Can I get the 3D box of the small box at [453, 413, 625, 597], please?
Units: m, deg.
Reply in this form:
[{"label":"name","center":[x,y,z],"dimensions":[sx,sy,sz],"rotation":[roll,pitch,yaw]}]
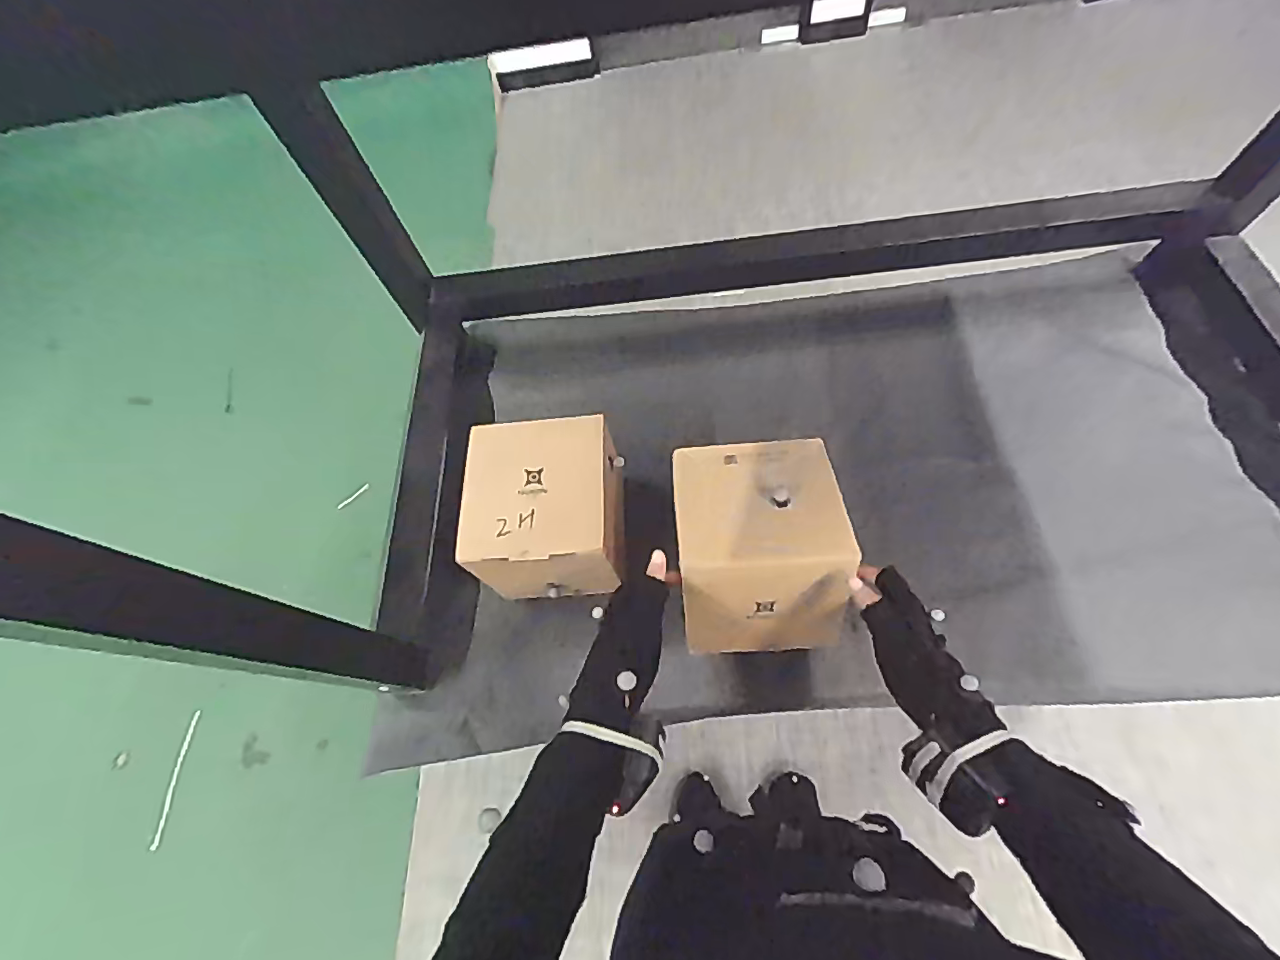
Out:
[{"label":"small box","center":[-0.114,0.038,0.686],"dimensions":[0.168,0.176,0.179],"rotation":[-5,63,6]}]
